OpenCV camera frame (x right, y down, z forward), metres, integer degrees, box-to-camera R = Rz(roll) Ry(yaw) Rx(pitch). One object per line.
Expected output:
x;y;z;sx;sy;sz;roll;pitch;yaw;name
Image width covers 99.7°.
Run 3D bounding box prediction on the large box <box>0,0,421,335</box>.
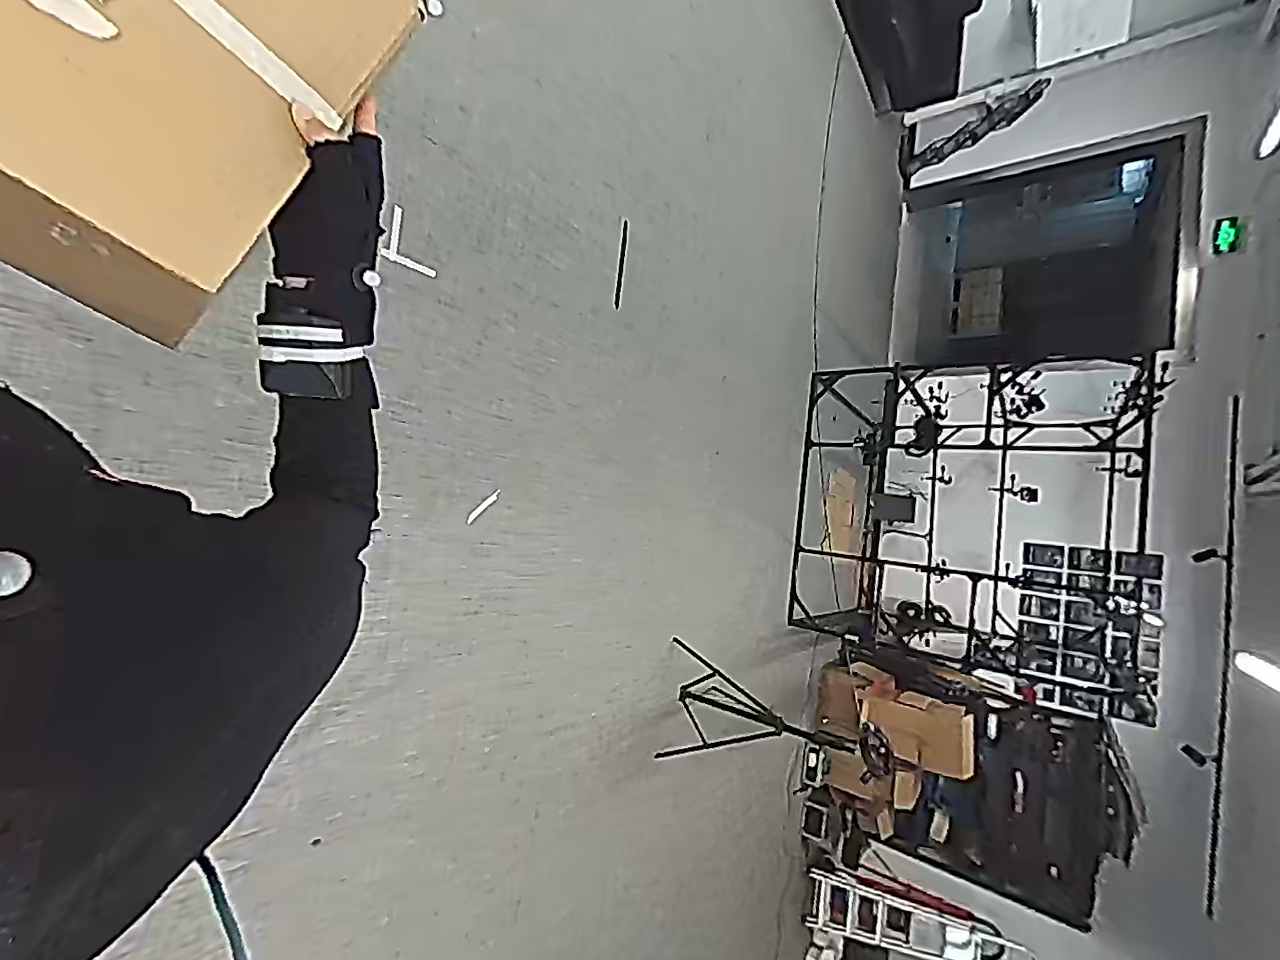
-0.466;-0.368;0.397;0.408;0.320;0.320;37;69;-40;large box
